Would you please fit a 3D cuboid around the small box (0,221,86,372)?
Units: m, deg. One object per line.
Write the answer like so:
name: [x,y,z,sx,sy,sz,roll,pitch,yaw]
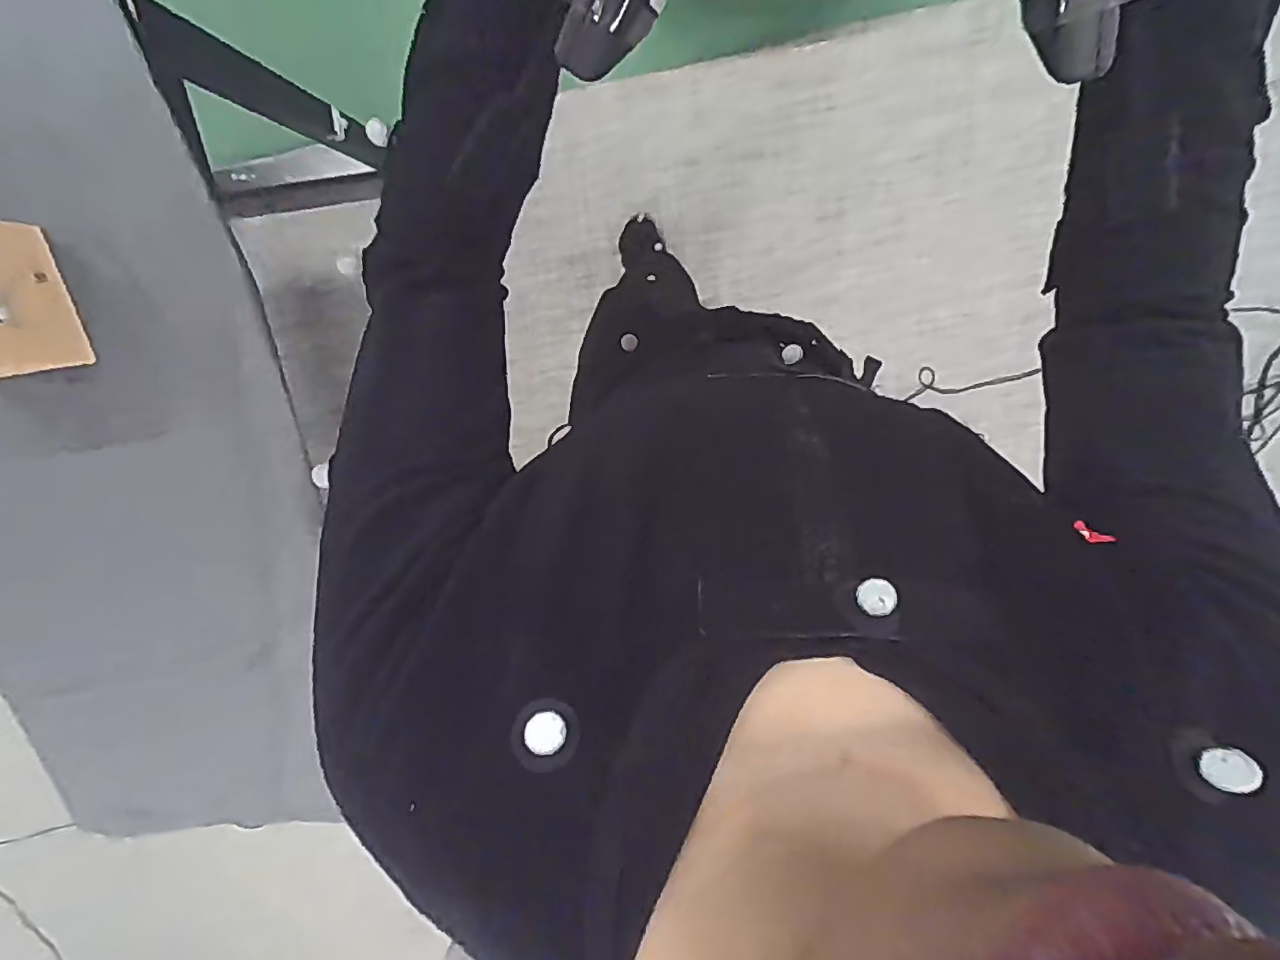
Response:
small box: [-0.809,-0.204,0.622,0.179,0.176,0.168,-6,108,6]
